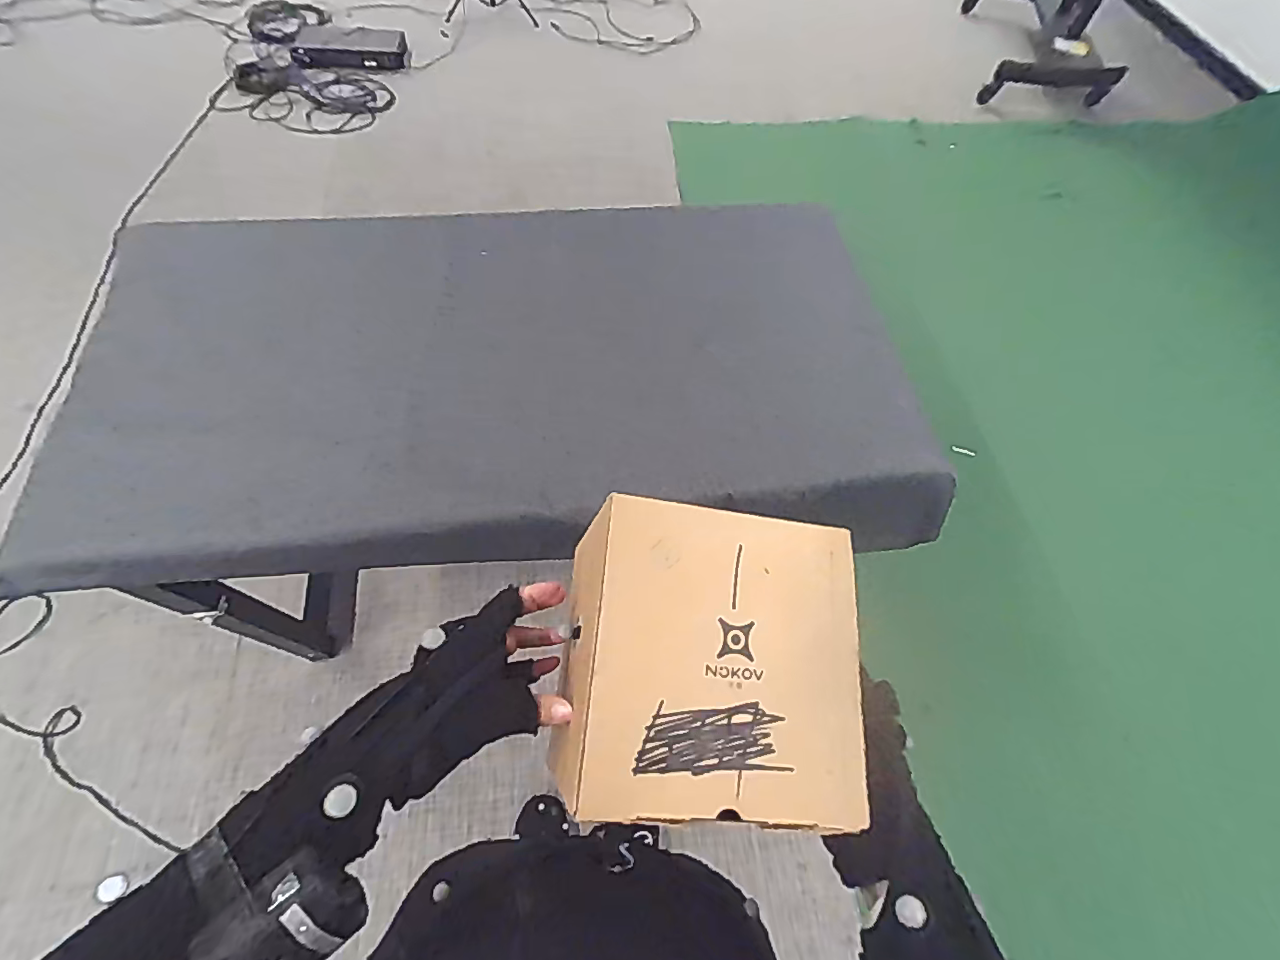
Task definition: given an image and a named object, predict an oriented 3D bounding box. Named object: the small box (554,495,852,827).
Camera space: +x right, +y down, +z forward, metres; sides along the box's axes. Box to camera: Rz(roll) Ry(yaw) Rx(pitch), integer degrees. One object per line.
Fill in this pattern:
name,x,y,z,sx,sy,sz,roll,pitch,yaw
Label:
small box,0.034,0.129,0.398,0.168,0.176,0.179,11,69,-11
